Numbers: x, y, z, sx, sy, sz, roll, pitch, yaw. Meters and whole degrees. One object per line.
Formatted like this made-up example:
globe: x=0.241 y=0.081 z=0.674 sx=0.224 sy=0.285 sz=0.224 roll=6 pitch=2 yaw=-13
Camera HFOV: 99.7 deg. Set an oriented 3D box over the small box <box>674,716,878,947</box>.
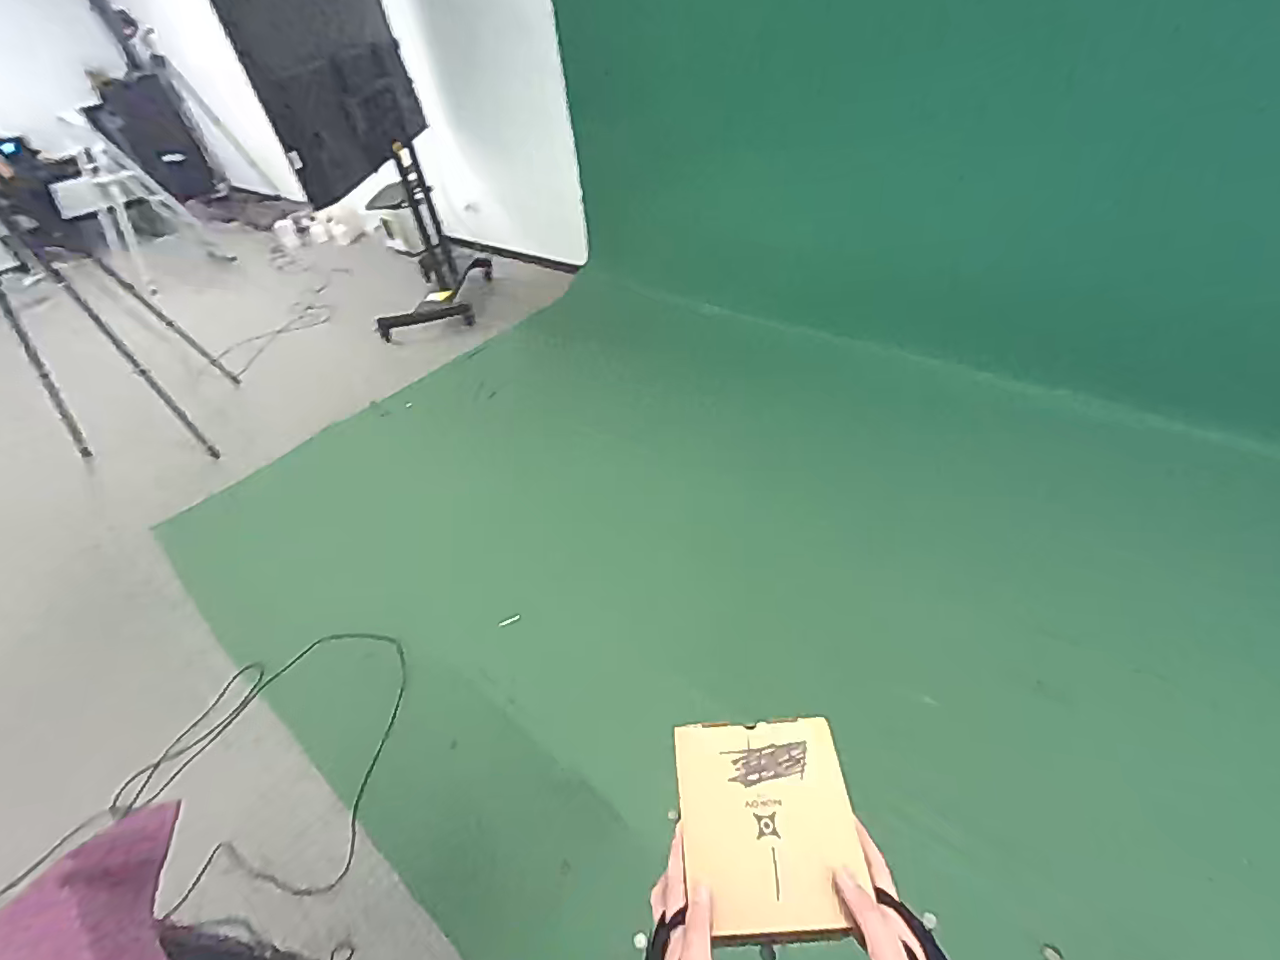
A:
small box: x=0.123 y=0.373 z=0.574 sx=0.168 sy=0.176 sz=0.179 roll=-4 pitch=47 yaw=1
